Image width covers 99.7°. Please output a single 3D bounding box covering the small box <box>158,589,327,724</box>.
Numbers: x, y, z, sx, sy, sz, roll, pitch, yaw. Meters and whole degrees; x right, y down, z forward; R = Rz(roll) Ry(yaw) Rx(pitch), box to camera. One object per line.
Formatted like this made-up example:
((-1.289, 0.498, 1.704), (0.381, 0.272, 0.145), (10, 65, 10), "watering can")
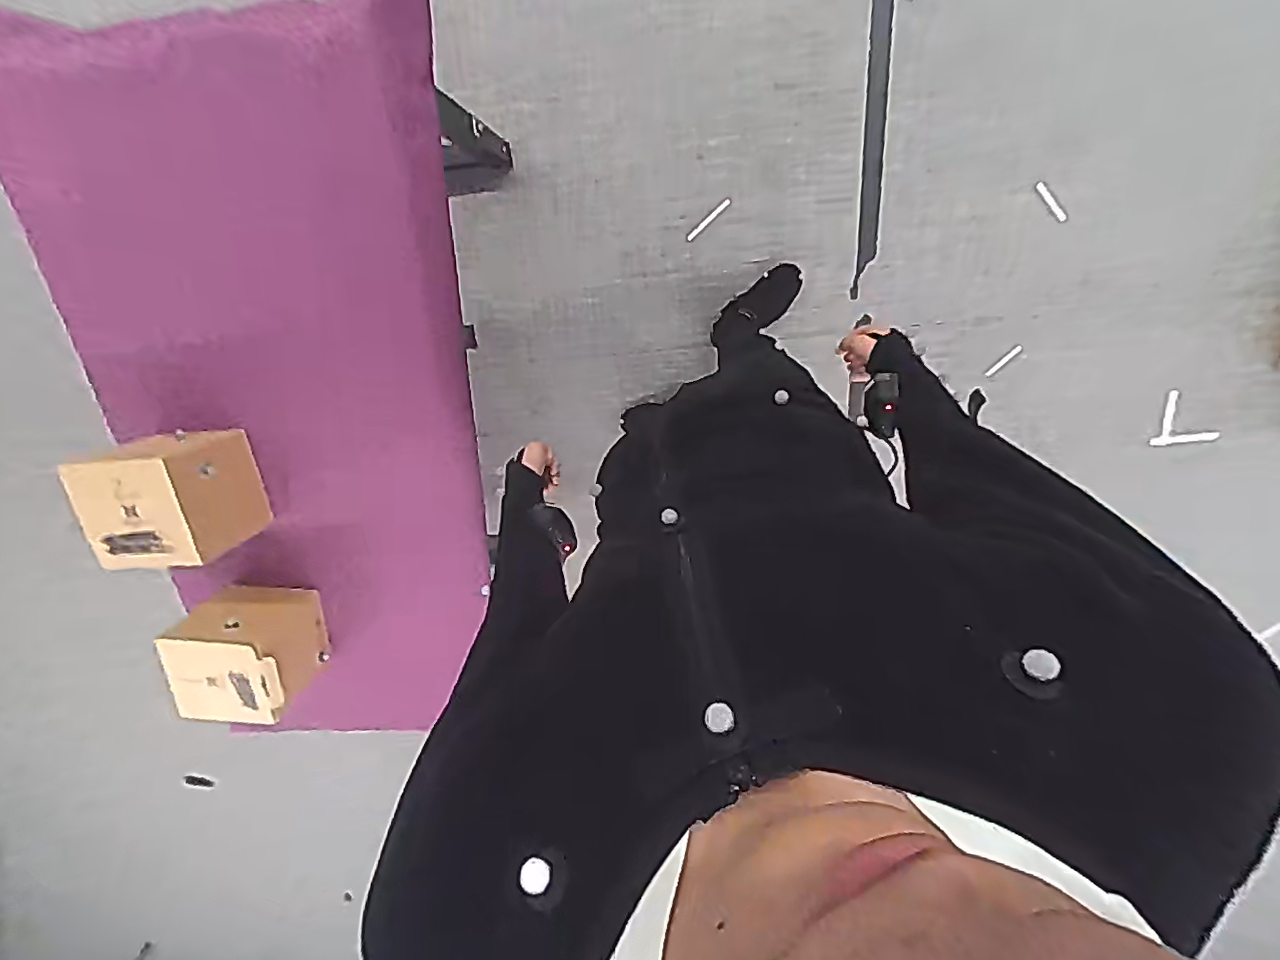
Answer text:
((-0.699, 0.312, 0.980), (0.179, 0.176, 0.168), (2, 110, 3), "small box")
